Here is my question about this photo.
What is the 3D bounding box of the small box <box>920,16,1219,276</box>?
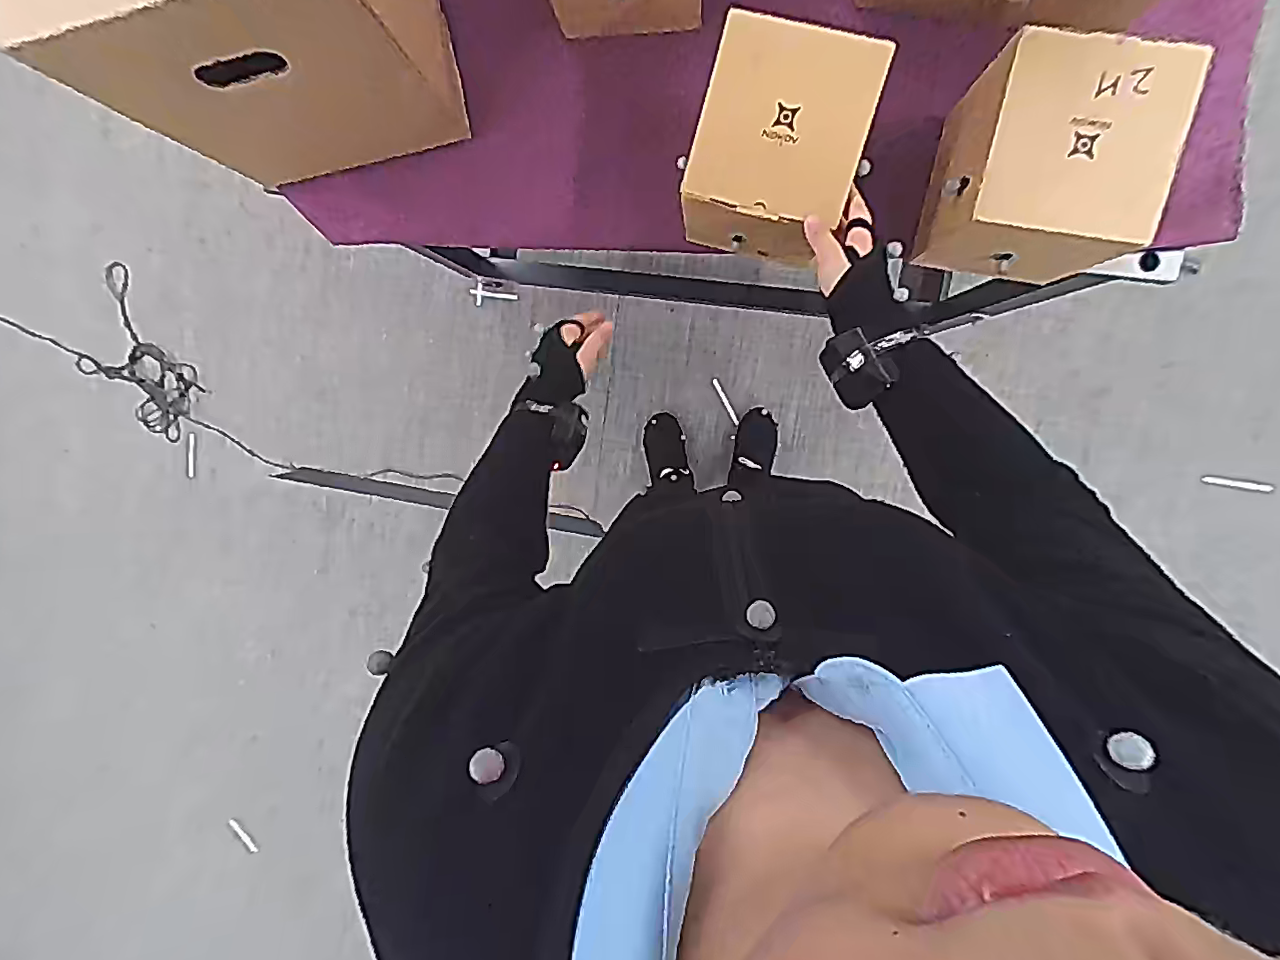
[{"bbox_3d":[0.425,-0.332,0.575,0.168,0.176,0.179,12,98,5],"label":"small box"}]

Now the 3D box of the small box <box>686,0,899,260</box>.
[{"bbox_3d":[0.153,-0.370,0.605,0.168,0.176,0.179,16,101,4],"label":"small box"}]
